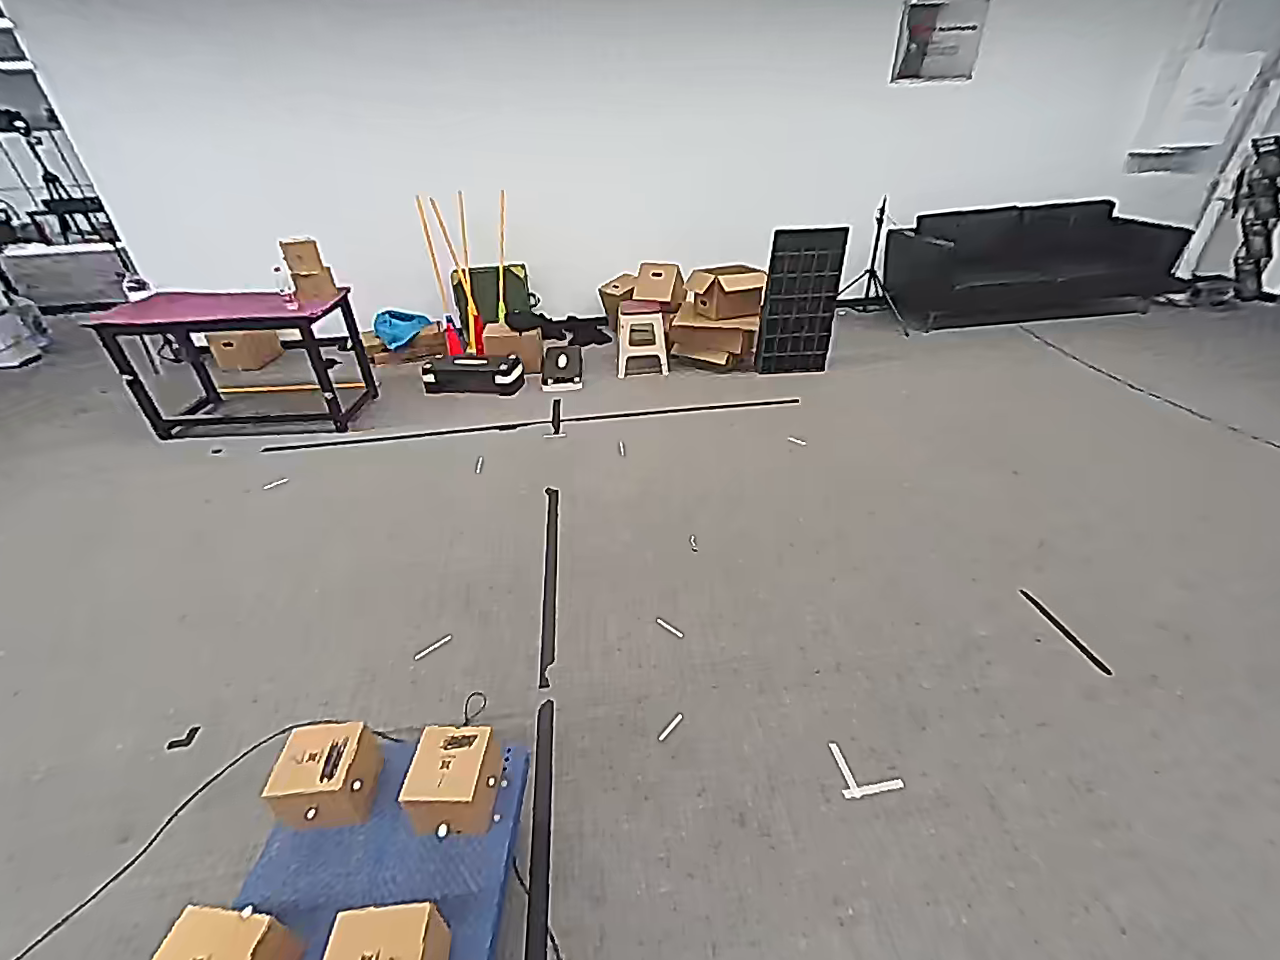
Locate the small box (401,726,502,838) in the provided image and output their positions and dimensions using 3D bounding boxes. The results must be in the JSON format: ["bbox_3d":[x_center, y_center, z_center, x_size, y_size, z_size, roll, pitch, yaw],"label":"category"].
[{"bbox_3d":[-0.435,0.712,1.282,0.168,0.176,0.179,0,34,3],"label":"small box"}]

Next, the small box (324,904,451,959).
[{"bbox_3d":[-0.465,0.909,0.983,0.179,0.176,0.168,-4,33,-2],"label":"small box"}]

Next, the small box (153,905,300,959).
[{"bbox_3d":[-0.773,0.918,0.988,0.179,0.176,0.168,3,33,5],"label":"small box"}]
